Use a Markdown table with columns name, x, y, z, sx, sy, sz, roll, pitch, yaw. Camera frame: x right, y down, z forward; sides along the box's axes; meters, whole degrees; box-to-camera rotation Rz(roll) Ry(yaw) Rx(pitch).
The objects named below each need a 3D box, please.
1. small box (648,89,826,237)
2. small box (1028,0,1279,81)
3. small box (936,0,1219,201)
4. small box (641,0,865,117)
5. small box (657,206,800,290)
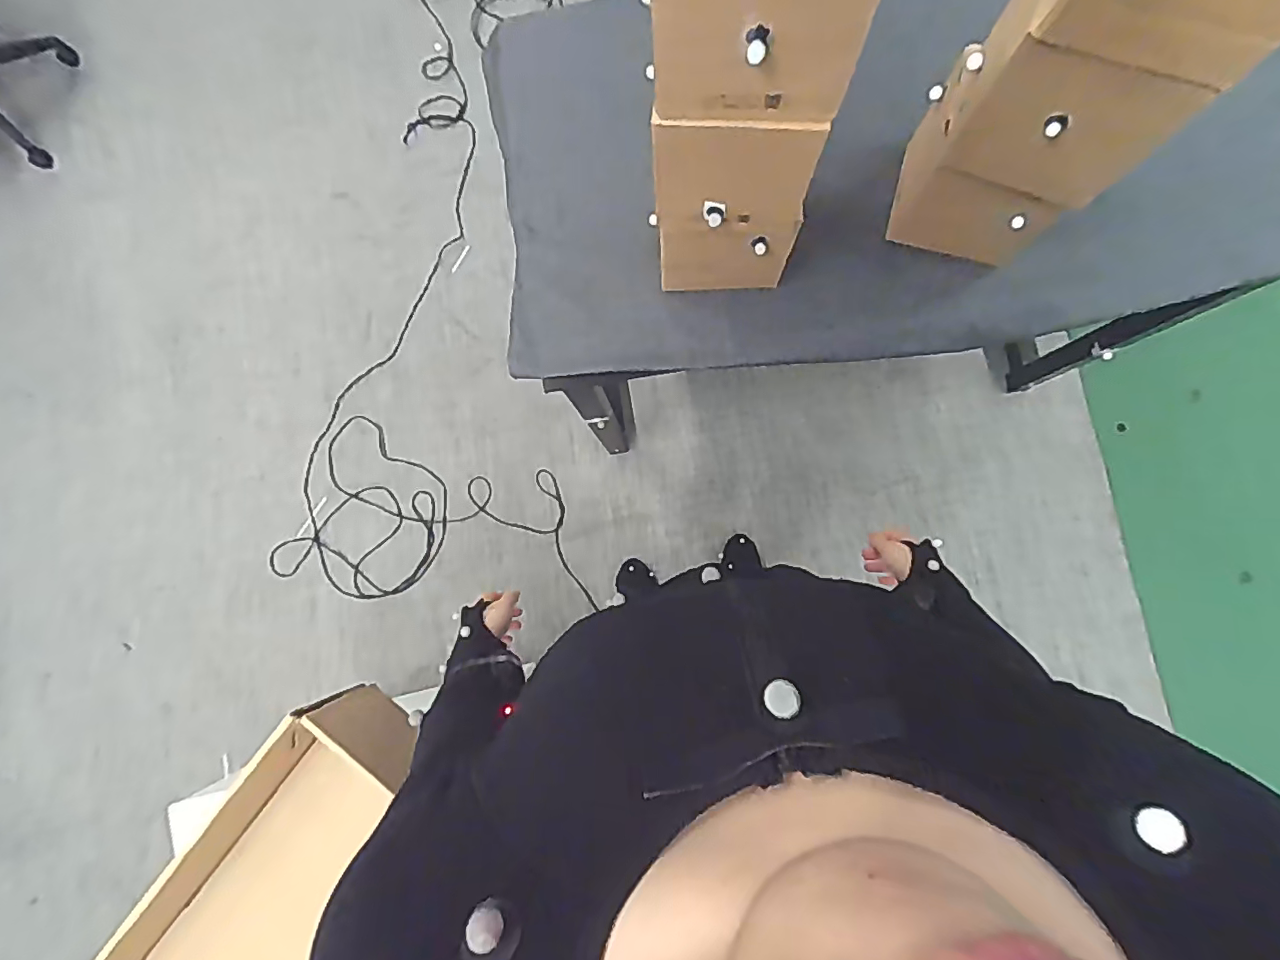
| name | x | y | z | sx | sy | sz | roll | pitch | yaw |
| --- | --- | --- | --- | --- | --- | --- | --- | --- | --- |
| small box | 0.101 | -0.395 | 0.586 | 0.168 | 0.176 | 0.179 | 4 | 84 | 5 |
| small box | 0.443 | -0.451 | 0.405 | 0.179 | 0.176 | 0.168 | 20 | 84 | 5 |
| small box | 0.455 | -0.430 | 0.566 | 0.179 | 0.176 | 0.168 | 22 | 84 | 6 |
| small box | 0.090 | -0.422 | 0.425 | 0.168 | 0.176 | 0.179 | 3 | 83 | 5 |
| small box | 0.112 | -0.378 | 0.747 | 0.179 | 0.176 | 0.168 | -1 | 82 | 4 |
